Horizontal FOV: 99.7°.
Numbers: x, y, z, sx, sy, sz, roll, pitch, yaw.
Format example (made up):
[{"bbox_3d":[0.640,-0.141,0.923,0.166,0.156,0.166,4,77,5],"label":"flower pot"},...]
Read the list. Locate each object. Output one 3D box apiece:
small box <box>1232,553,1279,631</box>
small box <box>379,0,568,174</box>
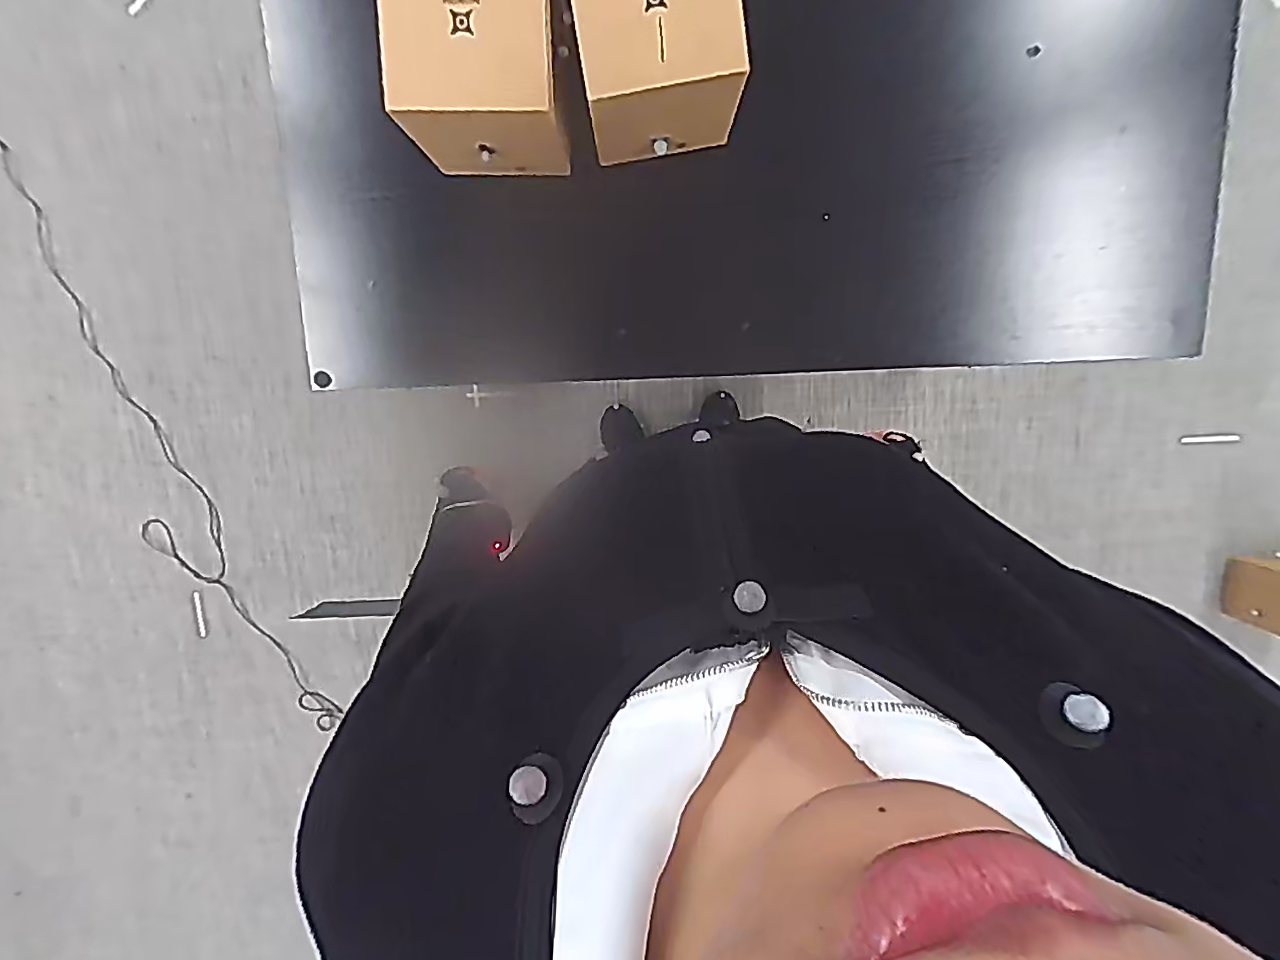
[{"bbox_3d":[1.743,0.303,1.432,0.168,0.176,0.179,-3,98,1],"label":"small box"},{"bbox_3d":[-0.174,-0.467,0.611,0.168,0.176,0.179,0,99,0],"label":"small box"}]
